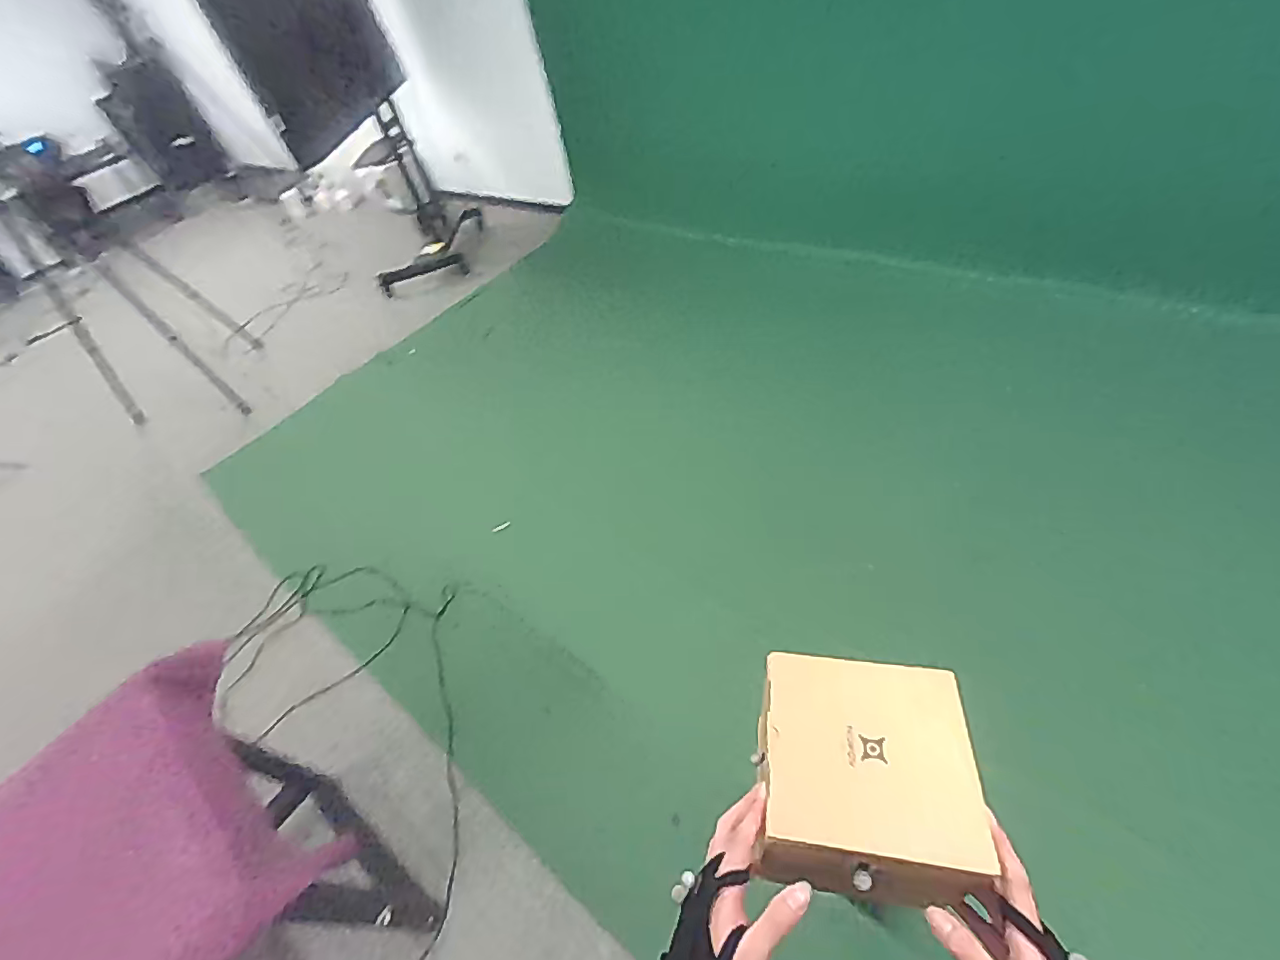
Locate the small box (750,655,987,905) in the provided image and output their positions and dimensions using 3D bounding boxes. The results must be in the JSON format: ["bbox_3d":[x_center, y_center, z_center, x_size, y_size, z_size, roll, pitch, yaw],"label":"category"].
[{"bbox_3d":[0.201,0.296,0.534,0.179,0.176,0.168,1,44,12],"label":"small box"}]
